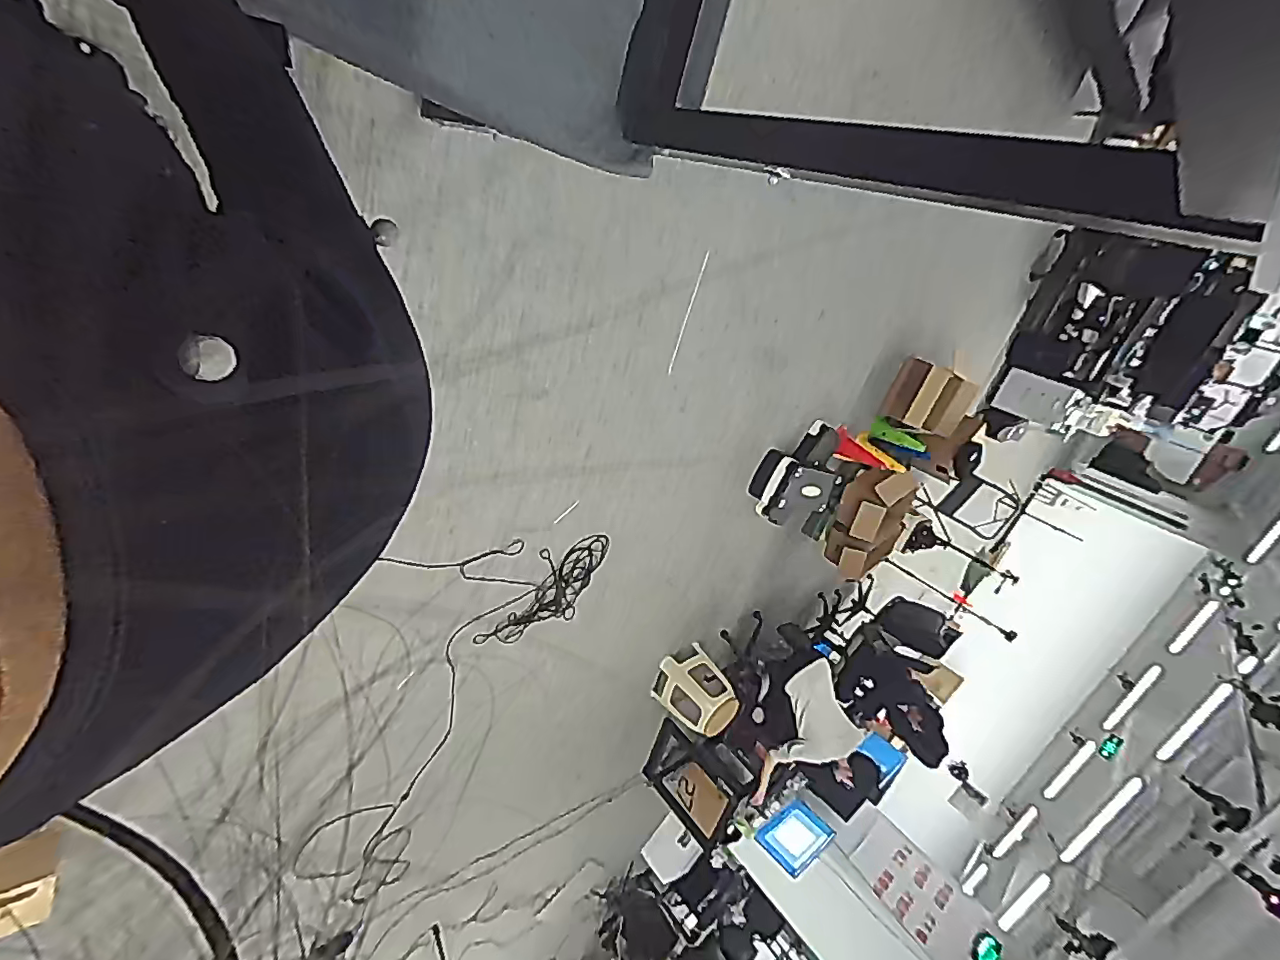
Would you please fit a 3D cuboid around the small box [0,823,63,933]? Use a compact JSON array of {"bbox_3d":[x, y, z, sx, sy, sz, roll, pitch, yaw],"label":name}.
[{"bbox_3d":[-1.618,1.027,1.393,0.168,0.176,0.179,6,115,-47],"label":"small box"}]
